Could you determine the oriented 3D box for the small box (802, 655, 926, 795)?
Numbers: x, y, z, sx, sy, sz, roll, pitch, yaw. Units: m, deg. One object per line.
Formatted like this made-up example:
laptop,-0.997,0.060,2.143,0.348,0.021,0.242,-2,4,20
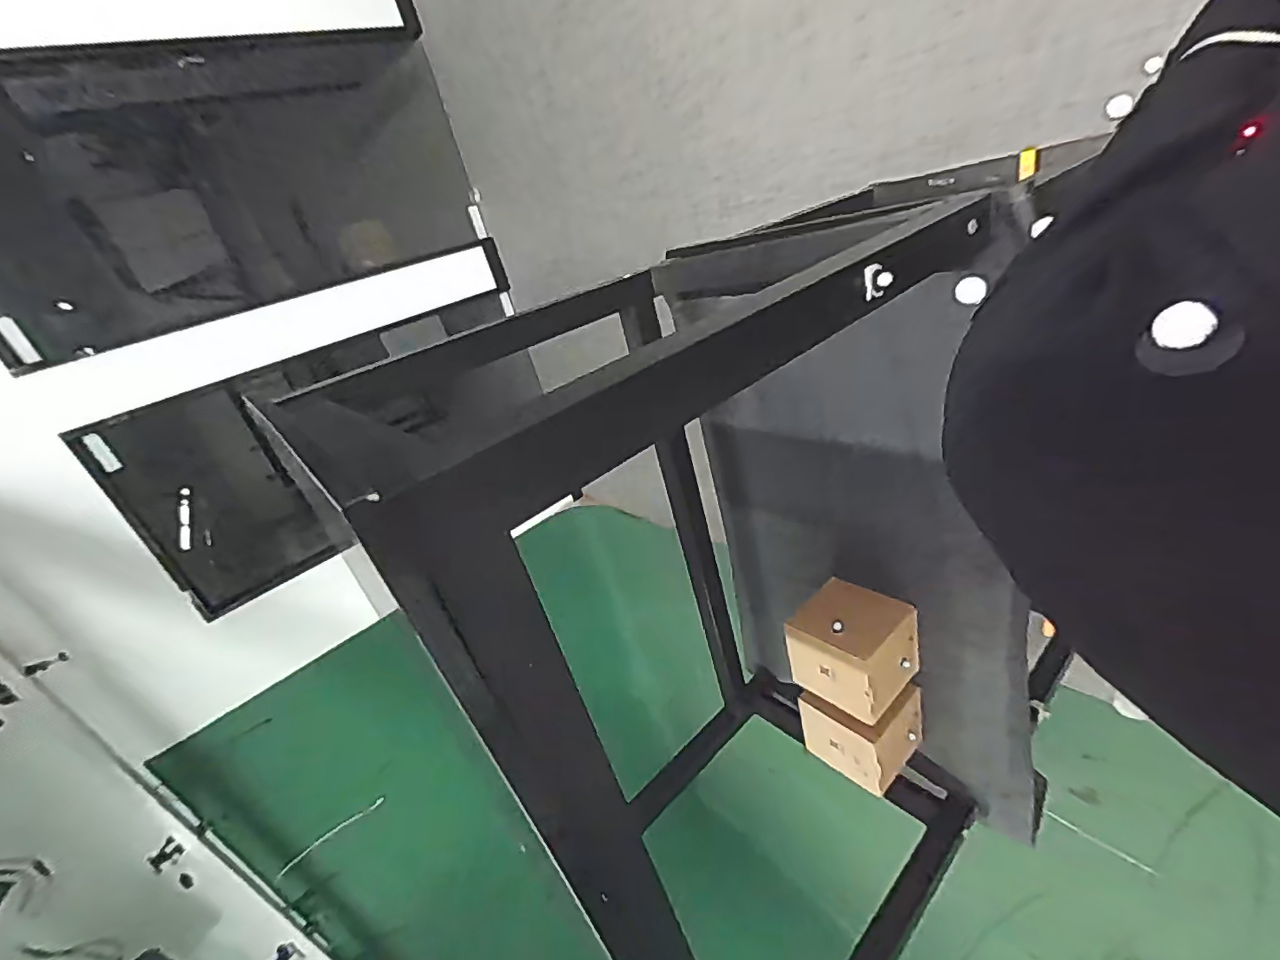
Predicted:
small box,0.467,0.496,1.127,0.179,0.176,0.168,18,132,50
